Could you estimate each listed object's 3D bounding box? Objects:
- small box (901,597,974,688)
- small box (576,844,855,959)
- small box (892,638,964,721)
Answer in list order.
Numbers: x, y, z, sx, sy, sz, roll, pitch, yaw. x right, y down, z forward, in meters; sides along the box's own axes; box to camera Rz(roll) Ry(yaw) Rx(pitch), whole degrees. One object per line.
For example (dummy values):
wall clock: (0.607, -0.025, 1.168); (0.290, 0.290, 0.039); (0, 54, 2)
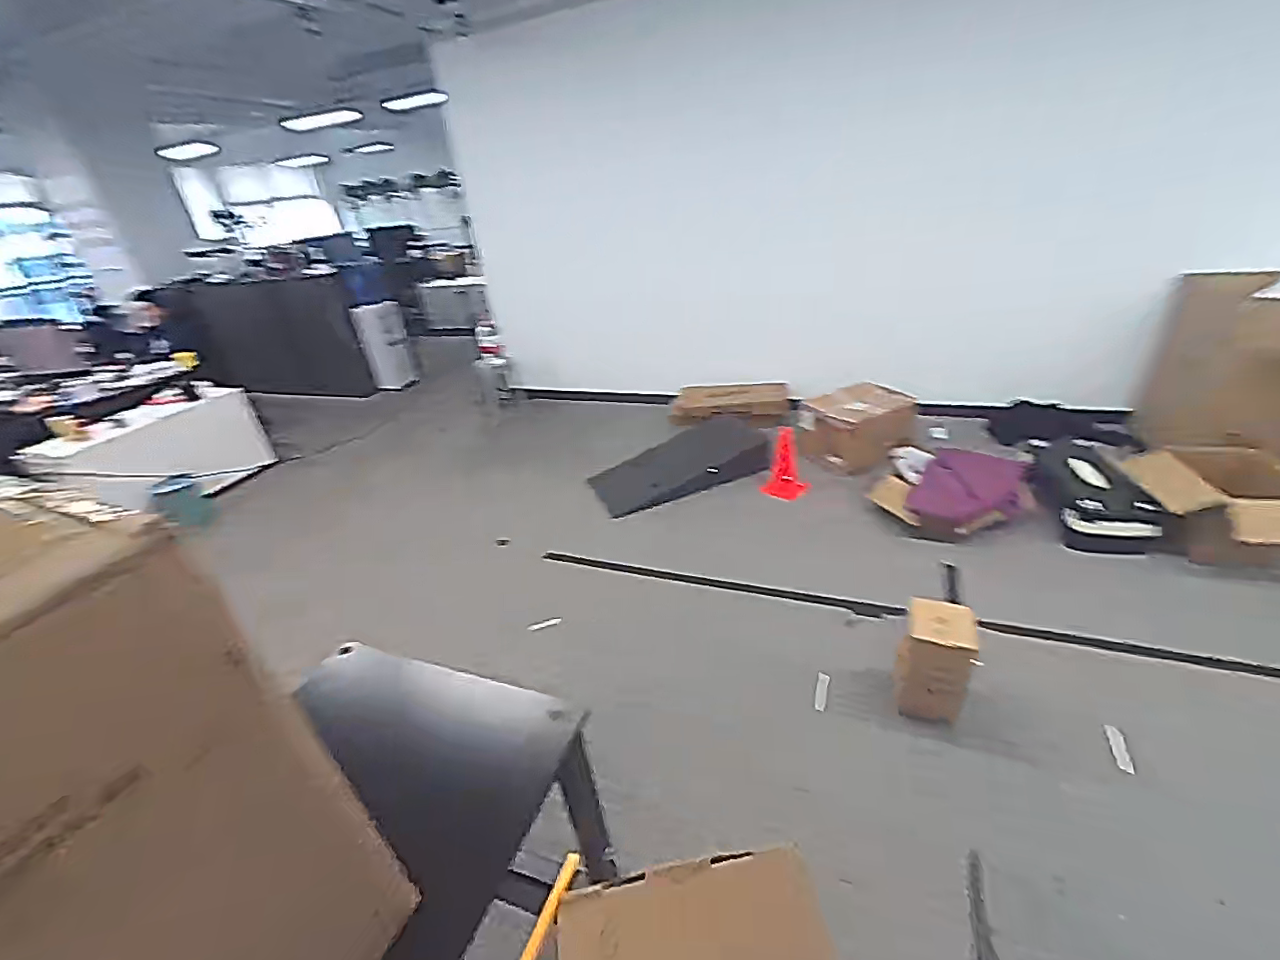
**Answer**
small box: (0.879, 0.483, 1.610); (0.168, 0.176, 0.179); (6, 32, 22)
small box: (0.054, 0.366, 0.349); (0.168, 0.176, 0.179); (-9, 46, -2)
small box: (0.892, 0.625, 1.693); (0.179, 0.176, 0.168); (5, 31, 19)
